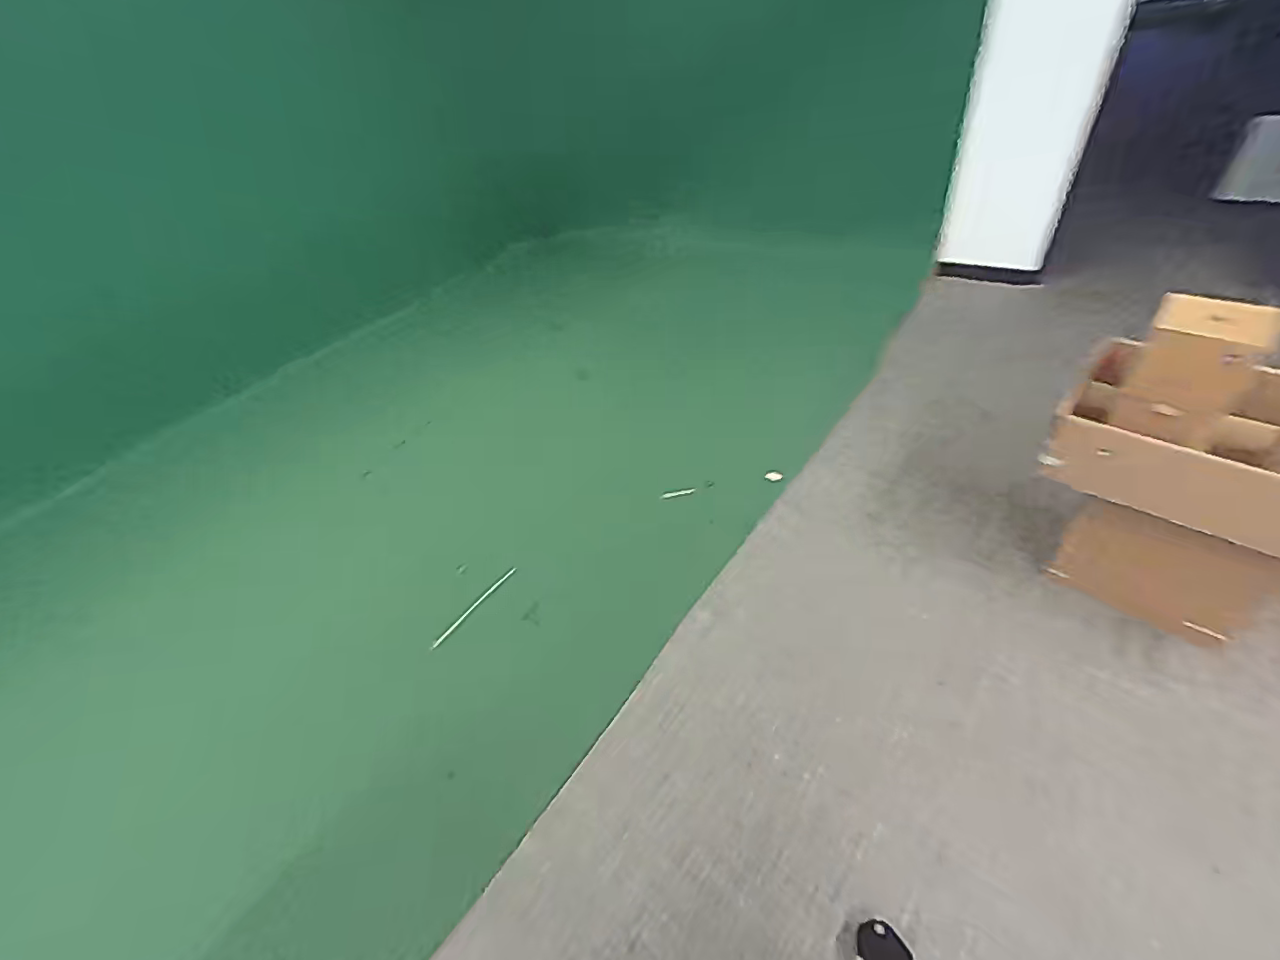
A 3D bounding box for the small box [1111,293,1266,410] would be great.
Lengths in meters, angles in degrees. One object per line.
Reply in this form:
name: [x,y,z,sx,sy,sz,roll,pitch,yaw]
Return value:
small box: [1.171,-0.276,1.166,0.179,0.176,0.168,28,57,33]
